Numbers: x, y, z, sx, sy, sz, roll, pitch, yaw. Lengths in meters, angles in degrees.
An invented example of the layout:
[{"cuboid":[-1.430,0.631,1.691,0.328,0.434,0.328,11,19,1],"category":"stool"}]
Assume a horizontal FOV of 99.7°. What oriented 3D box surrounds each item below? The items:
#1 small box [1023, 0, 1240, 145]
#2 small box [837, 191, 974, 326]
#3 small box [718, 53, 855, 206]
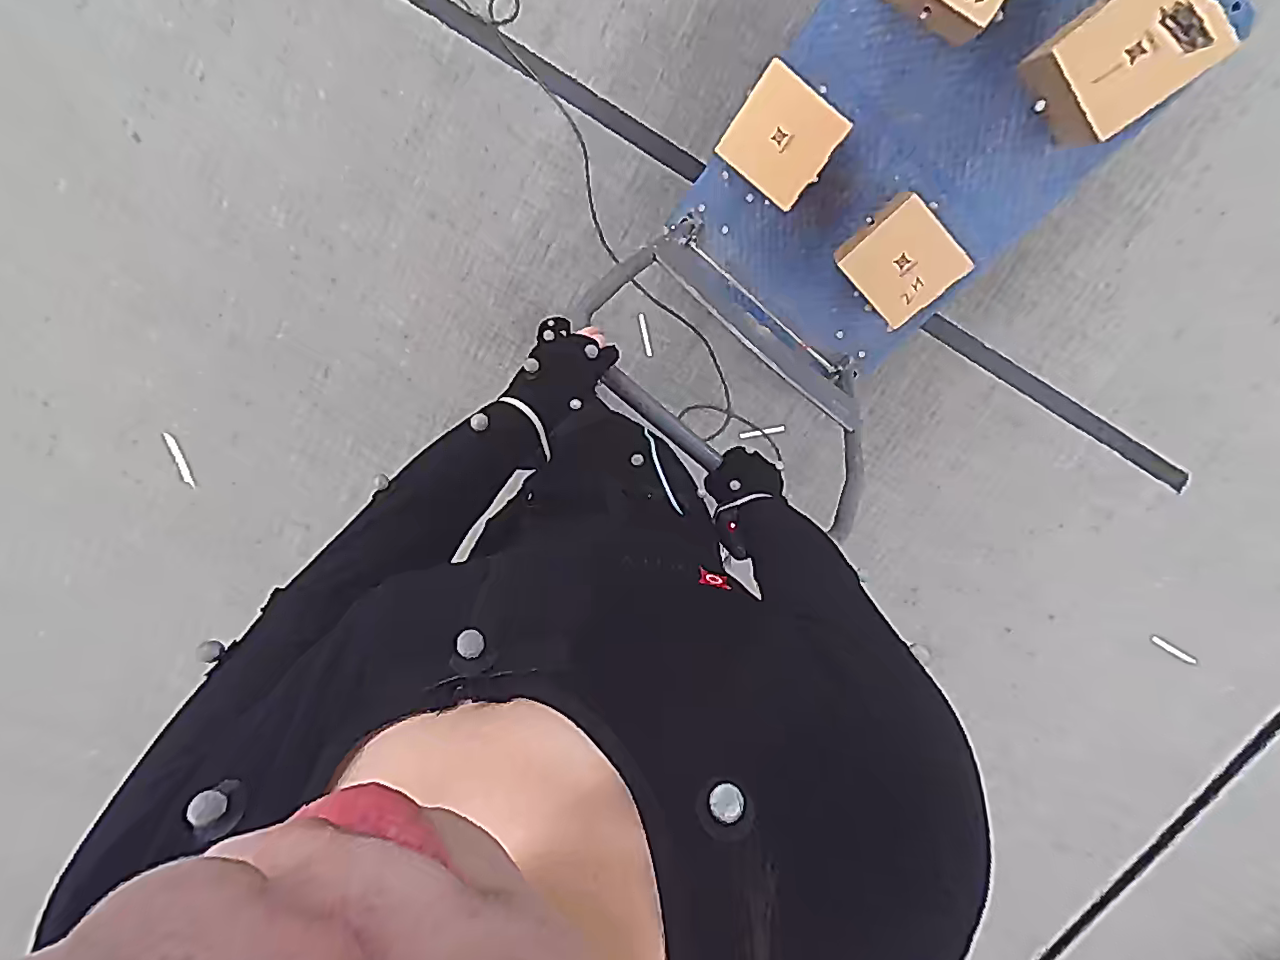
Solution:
[{"cuboid":[0.755,-0.666,0.852,0.179,0.176,0.168,-33,106,31],"category":"small box"},{"cuboid":[0.506,-0.436,1.060,0.179,0.176,0.168,44,122,-10],"category":"small box"},{"cuboid":[0.271,-0.643,1.012,0.179,0.176,0.168,37,123,-7],"category":"small box"}]
